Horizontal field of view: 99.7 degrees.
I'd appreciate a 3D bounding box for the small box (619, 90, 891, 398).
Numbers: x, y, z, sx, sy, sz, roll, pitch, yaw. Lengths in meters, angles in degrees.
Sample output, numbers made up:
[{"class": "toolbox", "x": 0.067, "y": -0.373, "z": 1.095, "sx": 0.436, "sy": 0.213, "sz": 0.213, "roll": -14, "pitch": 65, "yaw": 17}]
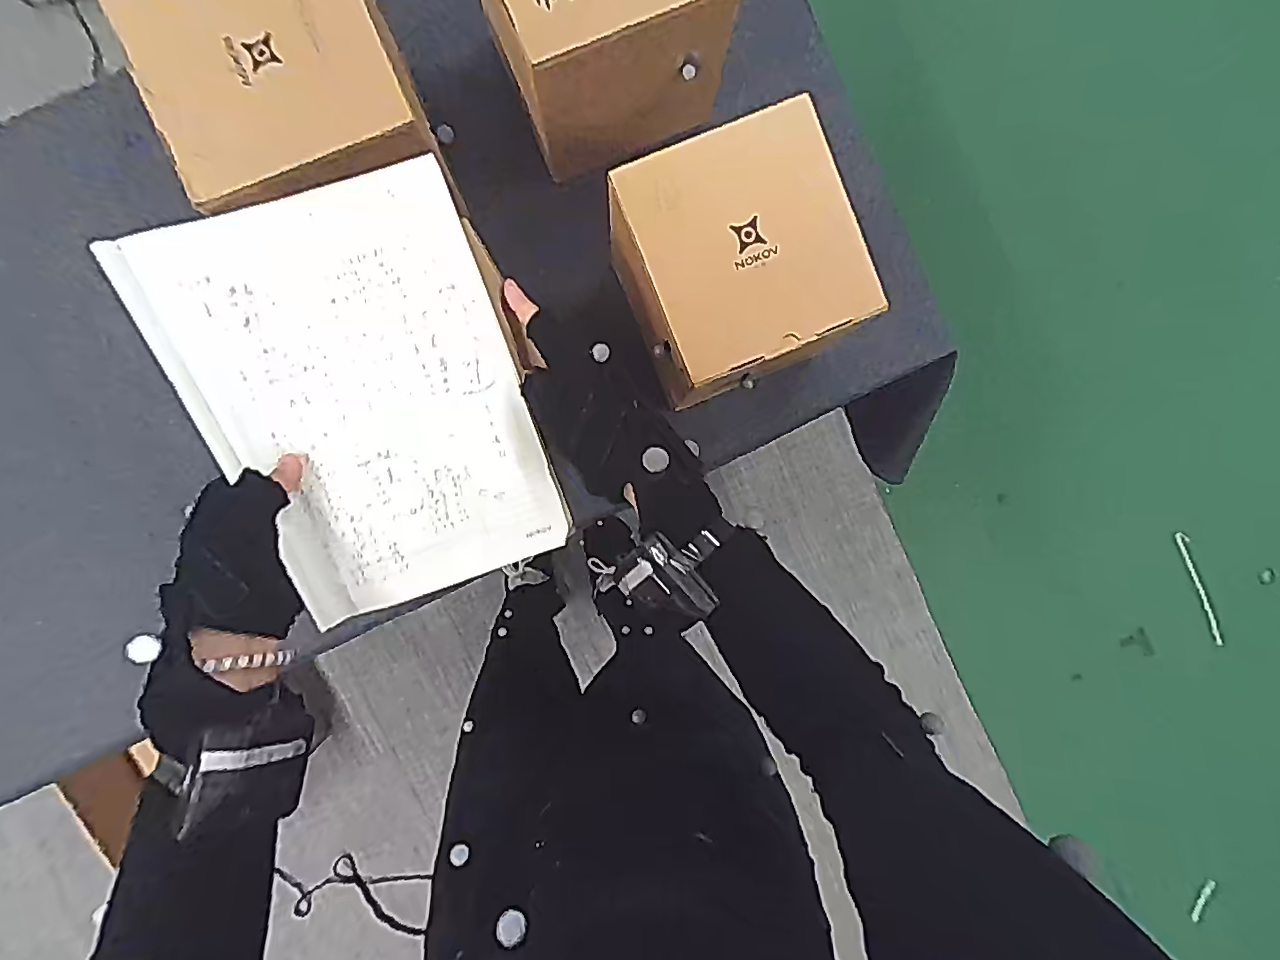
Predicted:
[{"class": "small box", "x": 0.083, "y": -0.189, "z": 0.488, "sx": 0.168, "sy": 0.176, "sz": 0.179, "roll": -22, "pitch": 93, "yaw": -2}]
